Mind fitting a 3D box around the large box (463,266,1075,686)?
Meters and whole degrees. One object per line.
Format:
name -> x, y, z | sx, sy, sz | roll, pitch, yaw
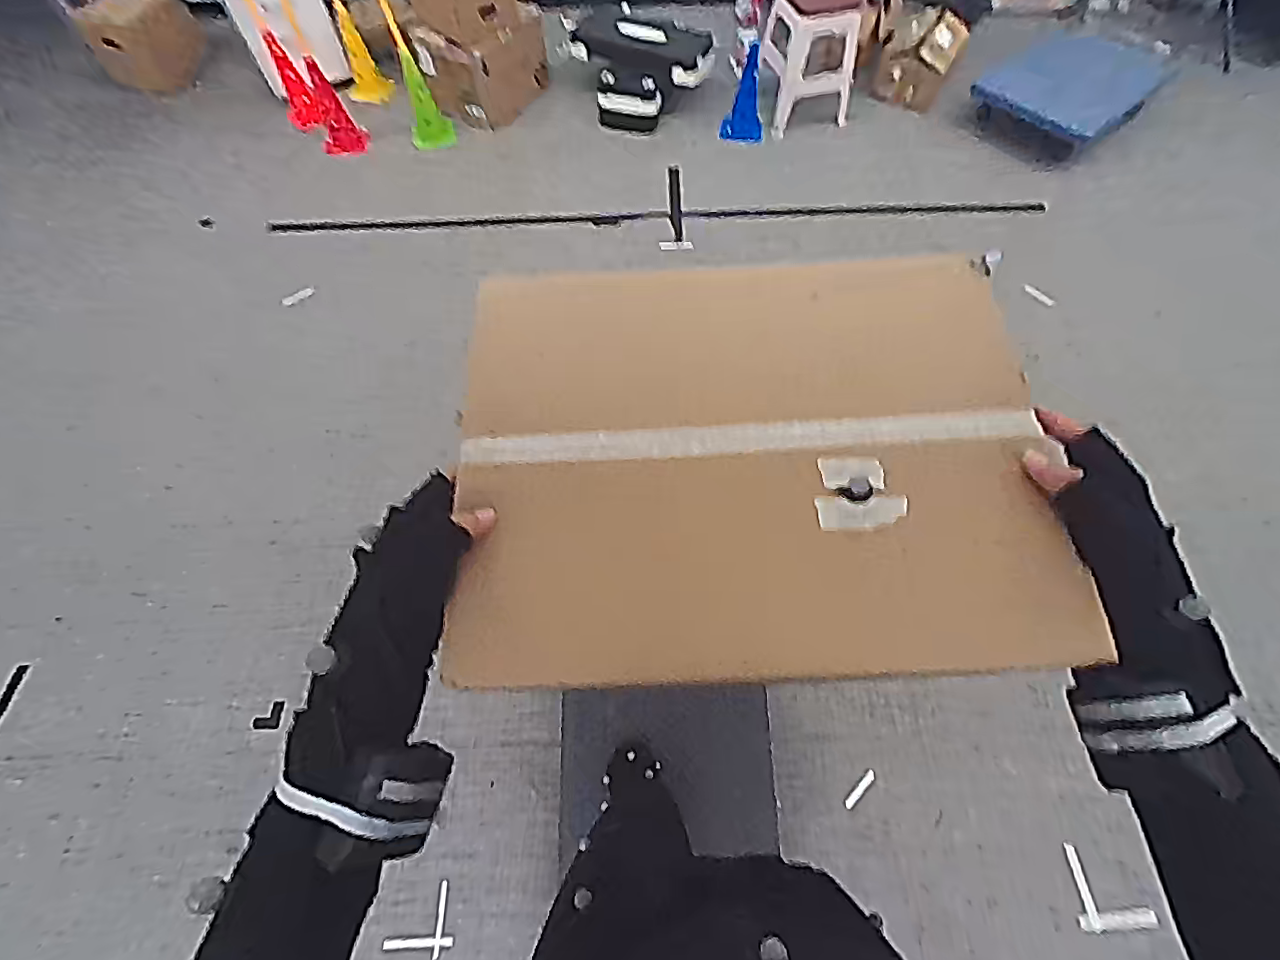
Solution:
large box -> 0.077, 0.027, 0.538 | 0.408, 0.320, 0.320 | -3, 69, 1
